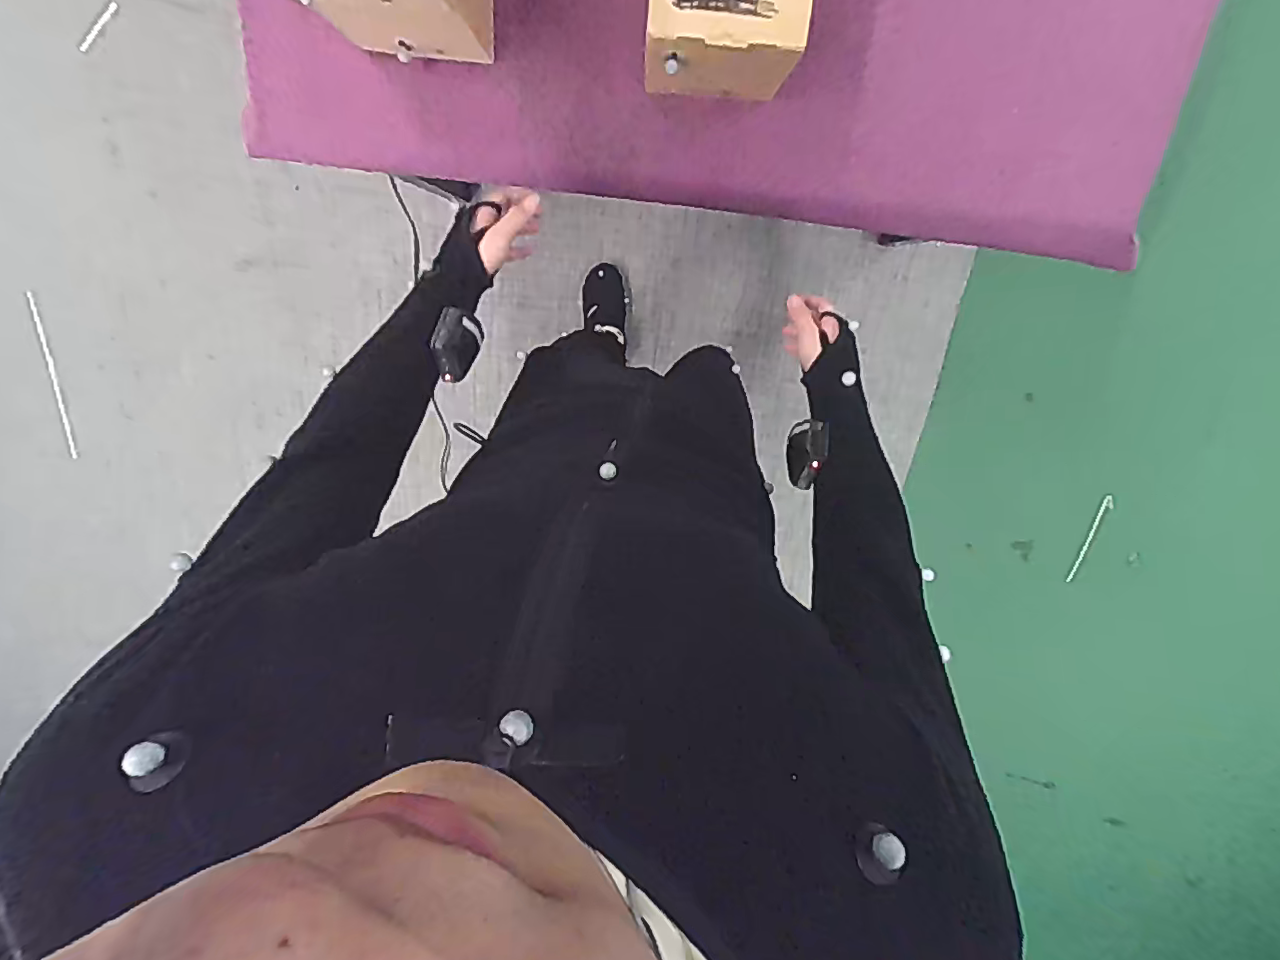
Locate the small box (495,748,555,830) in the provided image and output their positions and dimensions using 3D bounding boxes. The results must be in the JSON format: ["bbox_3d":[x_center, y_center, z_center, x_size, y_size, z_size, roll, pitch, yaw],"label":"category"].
[{"bbox_3d":[-0.401,1.089,1.911,0.168,0.176,0.179,11,109,-5],"label":"small box"}]

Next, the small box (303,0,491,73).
[{"bbox_3d":[-0.264,-0.583,0.586,0.168,0.176,0.179,4,110,-2],"label":"small box"}]
